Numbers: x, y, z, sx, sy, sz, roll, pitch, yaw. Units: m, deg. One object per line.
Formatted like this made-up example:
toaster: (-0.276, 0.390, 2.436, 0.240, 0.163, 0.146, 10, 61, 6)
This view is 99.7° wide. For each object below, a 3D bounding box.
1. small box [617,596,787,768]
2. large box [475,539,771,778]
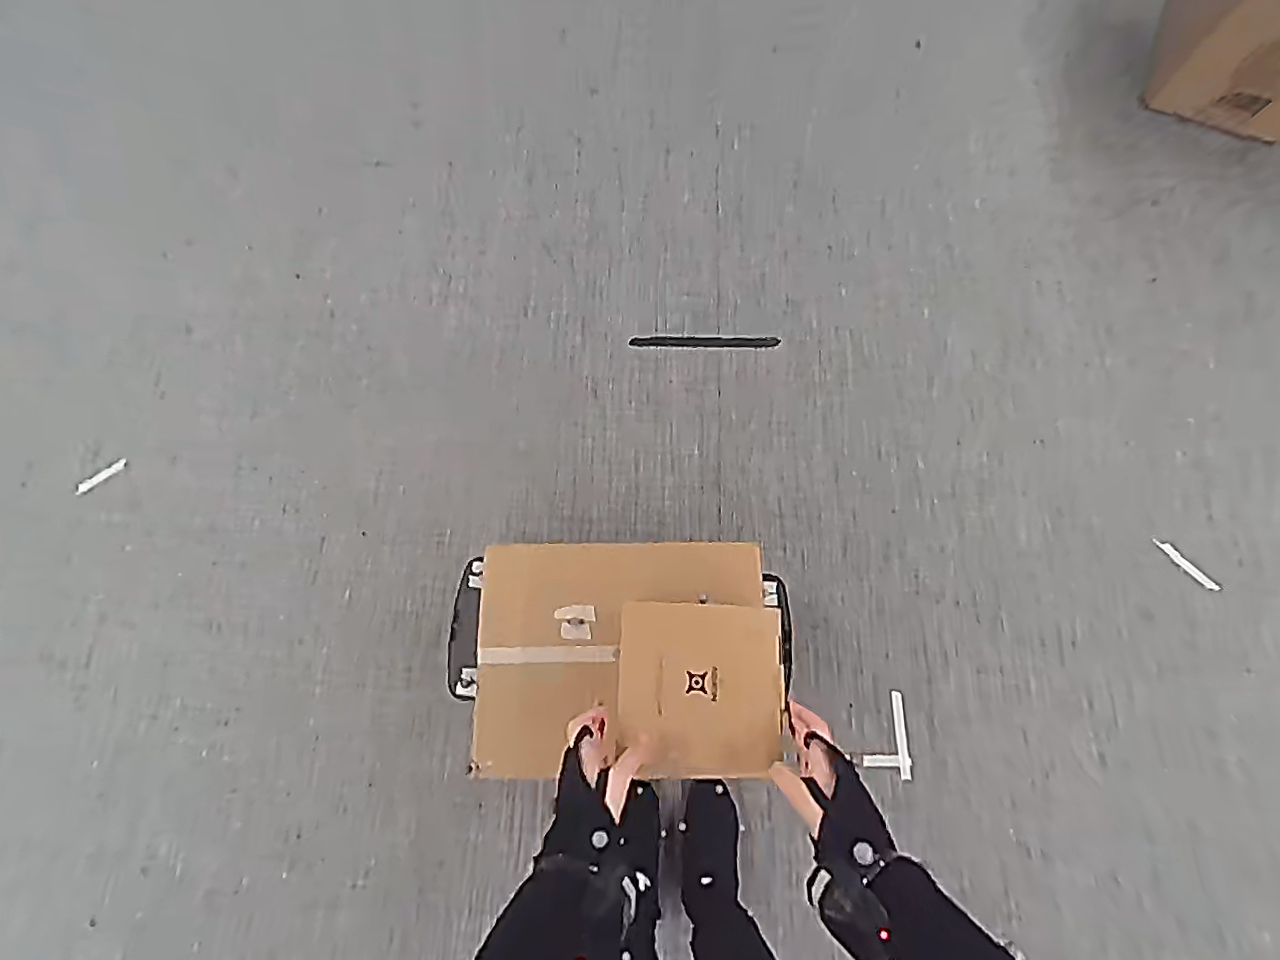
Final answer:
small box: (0.068, 0.229, 0.649, 0.179, 0.176, 0.168, 3, 75, 2)
large box: (-0.018, 0.279, 0.892, 0.408, 0.320, 0.320, -1, 74, 2)
